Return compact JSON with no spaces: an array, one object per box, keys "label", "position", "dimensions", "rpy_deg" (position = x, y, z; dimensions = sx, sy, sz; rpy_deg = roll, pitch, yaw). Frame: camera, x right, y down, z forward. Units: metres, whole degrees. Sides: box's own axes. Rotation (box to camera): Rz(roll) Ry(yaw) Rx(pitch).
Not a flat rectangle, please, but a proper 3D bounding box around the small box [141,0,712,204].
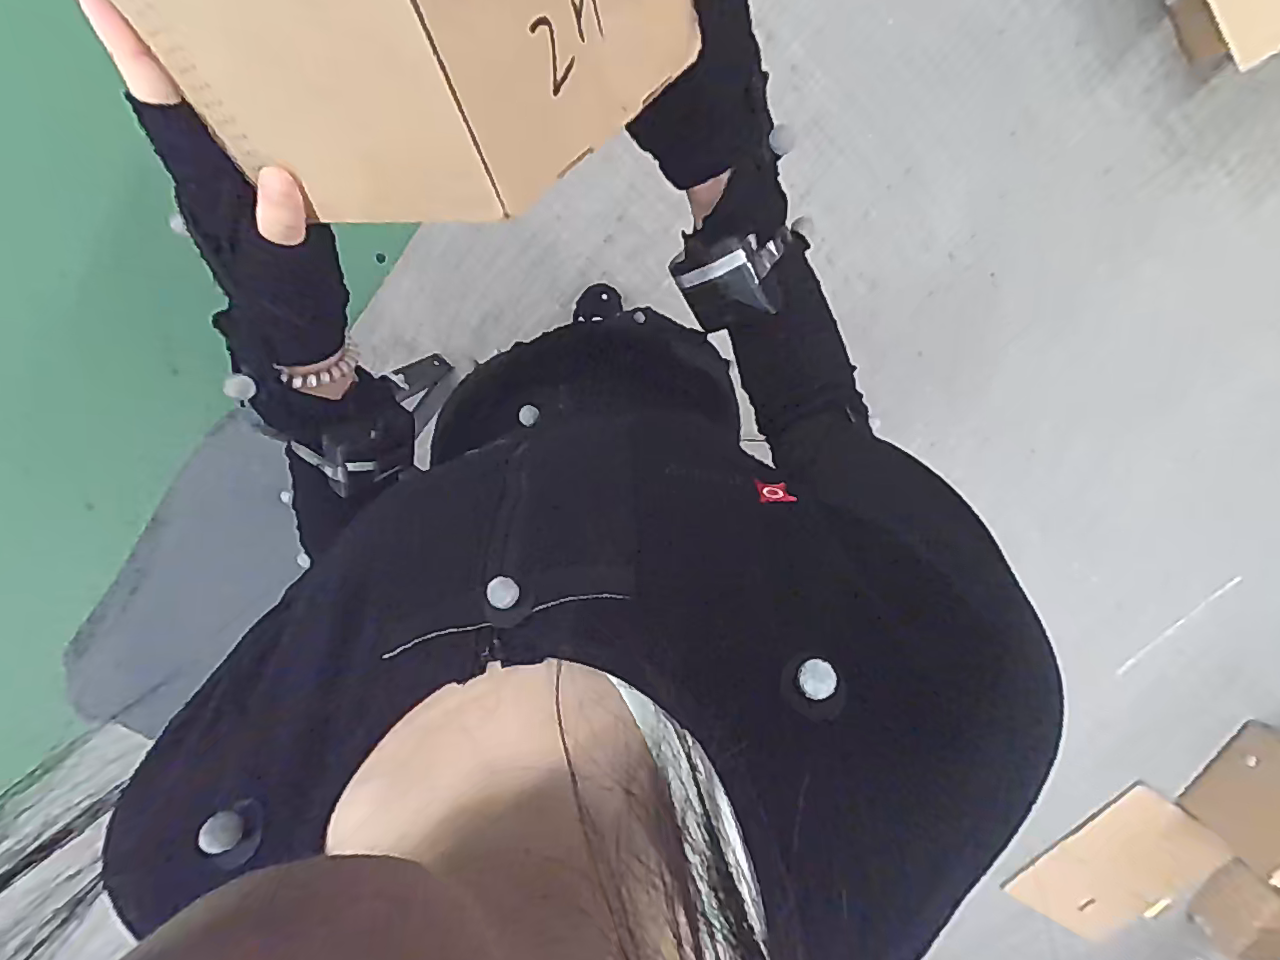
[{"label":"small box","position":[-0.094,-0.230,0.210],"dimensions":[0.176,0.168,0.179],"rpy_deg":[16,147,30]}]
